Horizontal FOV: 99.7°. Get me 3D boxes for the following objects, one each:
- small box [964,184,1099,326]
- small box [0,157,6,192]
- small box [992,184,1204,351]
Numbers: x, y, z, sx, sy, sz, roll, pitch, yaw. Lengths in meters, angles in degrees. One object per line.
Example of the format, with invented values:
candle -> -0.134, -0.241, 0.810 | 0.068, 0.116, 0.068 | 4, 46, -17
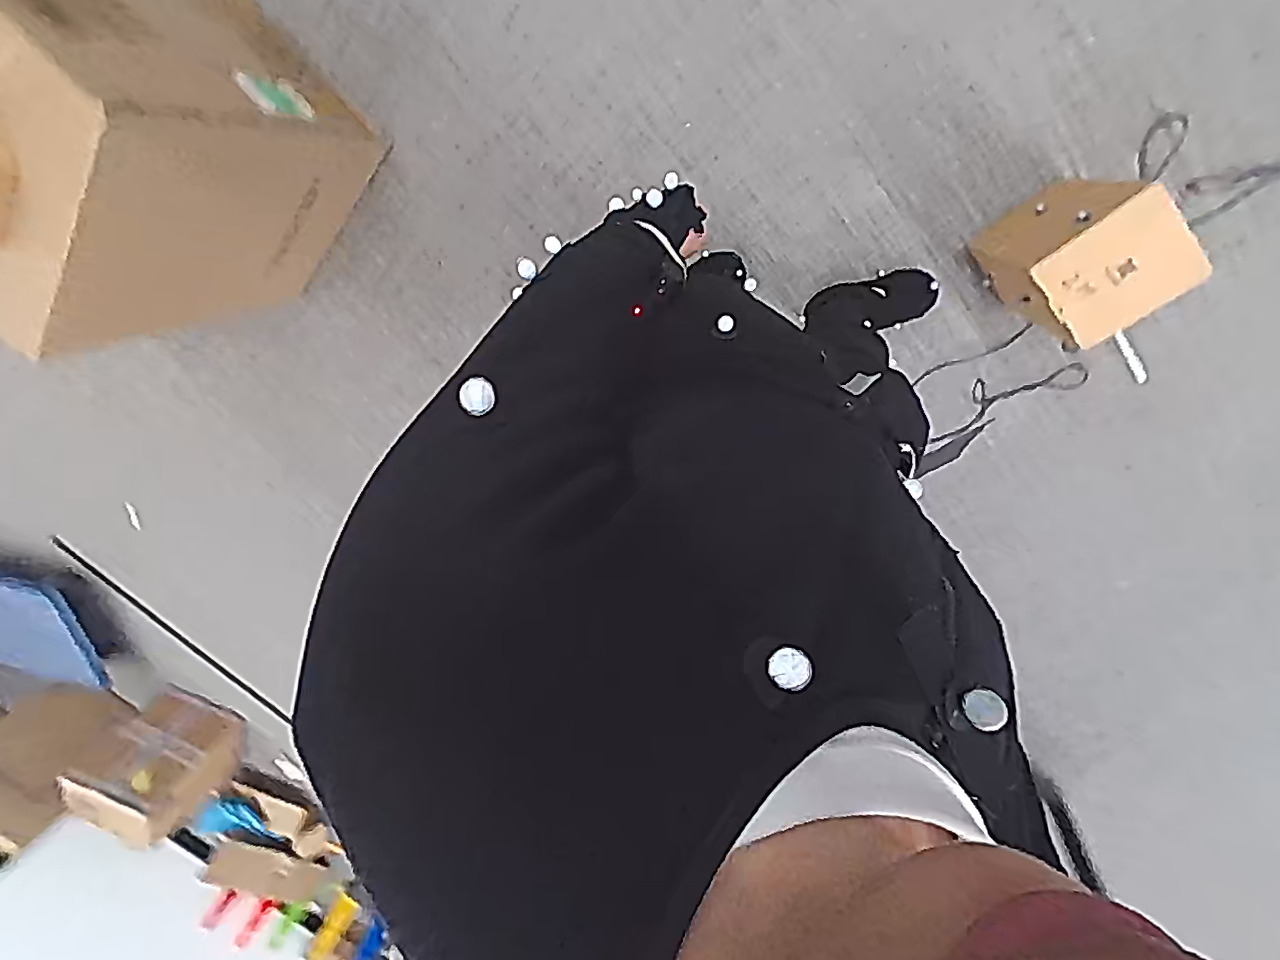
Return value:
small box -> 0.746, -0.422, 1.004 | 0.179, 0.176, 0.168 | -35, 105, 28
small box -> -1.004, -0.434, 0.702 | 0.179, 0.176, 0.168 | -36, 105, 28
small box -> 0.711, -0.342, 0.863 | 0.179, 0.176, 0.168 | -37, 104, 28
